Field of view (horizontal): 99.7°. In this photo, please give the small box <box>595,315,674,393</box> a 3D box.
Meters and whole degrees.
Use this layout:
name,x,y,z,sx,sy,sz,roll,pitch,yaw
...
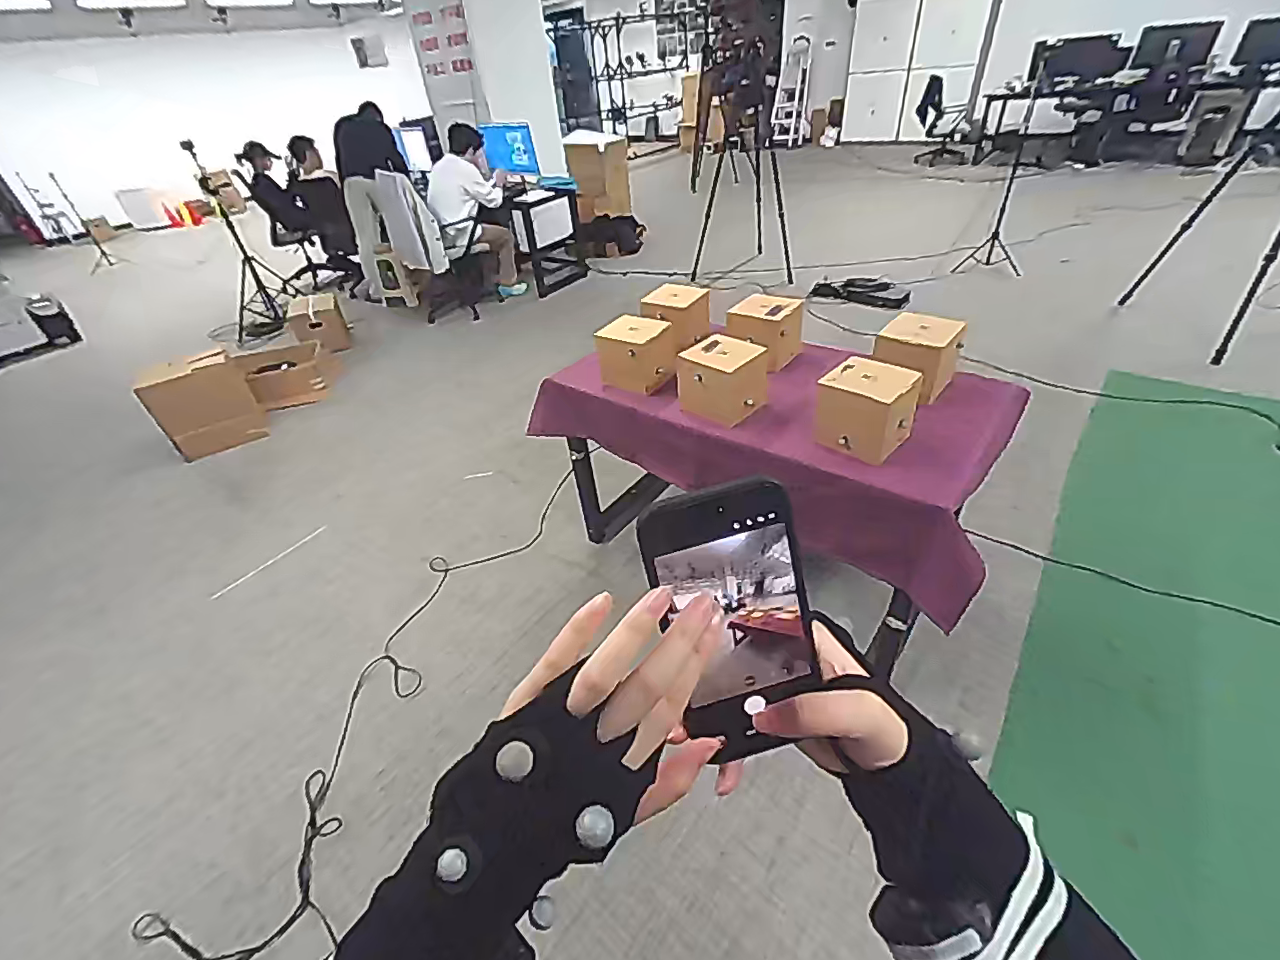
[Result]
name,x,y,z,sx,sy,sz,roll,pitch,yaw
small box,-0.012,-0.381,1.637,0.179,0.176,0.168,19,44,27

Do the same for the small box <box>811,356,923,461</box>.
name,x,y,z,sx,sy,sz,roll,pitch,yaw
small box,0.531,-0.167,1.283,0.168,0.176,0.179,-34,46,-31

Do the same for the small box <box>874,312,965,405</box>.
name,x,y,z,sx,sy,sz,roll,pitch,yaw
small box,0.739,-0.328,1.455,0.168,0.176,0.179,26,49,35

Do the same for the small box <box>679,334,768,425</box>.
name,x,y,z,sx,sy,sz,roll,pitch,yaw
small box,0.223,-0.271,1.461,0.179,0.176,0.168,29,50,36
